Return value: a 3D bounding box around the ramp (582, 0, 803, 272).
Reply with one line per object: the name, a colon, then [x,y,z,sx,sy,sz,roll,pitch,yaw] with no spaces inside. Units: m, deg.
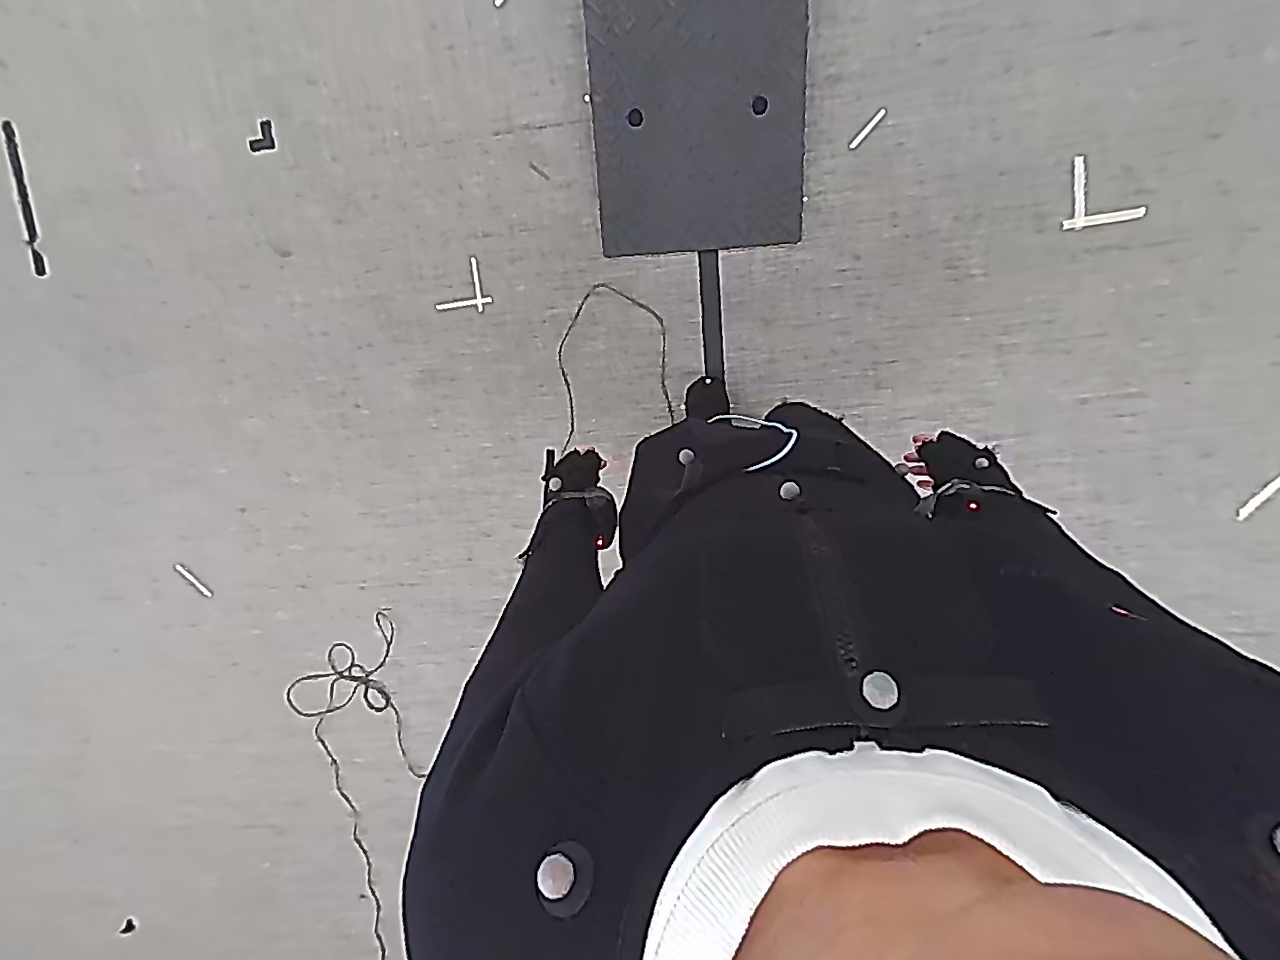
ramp: [0.118,-1.024,1.216,0.509,0.206,0.991,-5,98,6]
